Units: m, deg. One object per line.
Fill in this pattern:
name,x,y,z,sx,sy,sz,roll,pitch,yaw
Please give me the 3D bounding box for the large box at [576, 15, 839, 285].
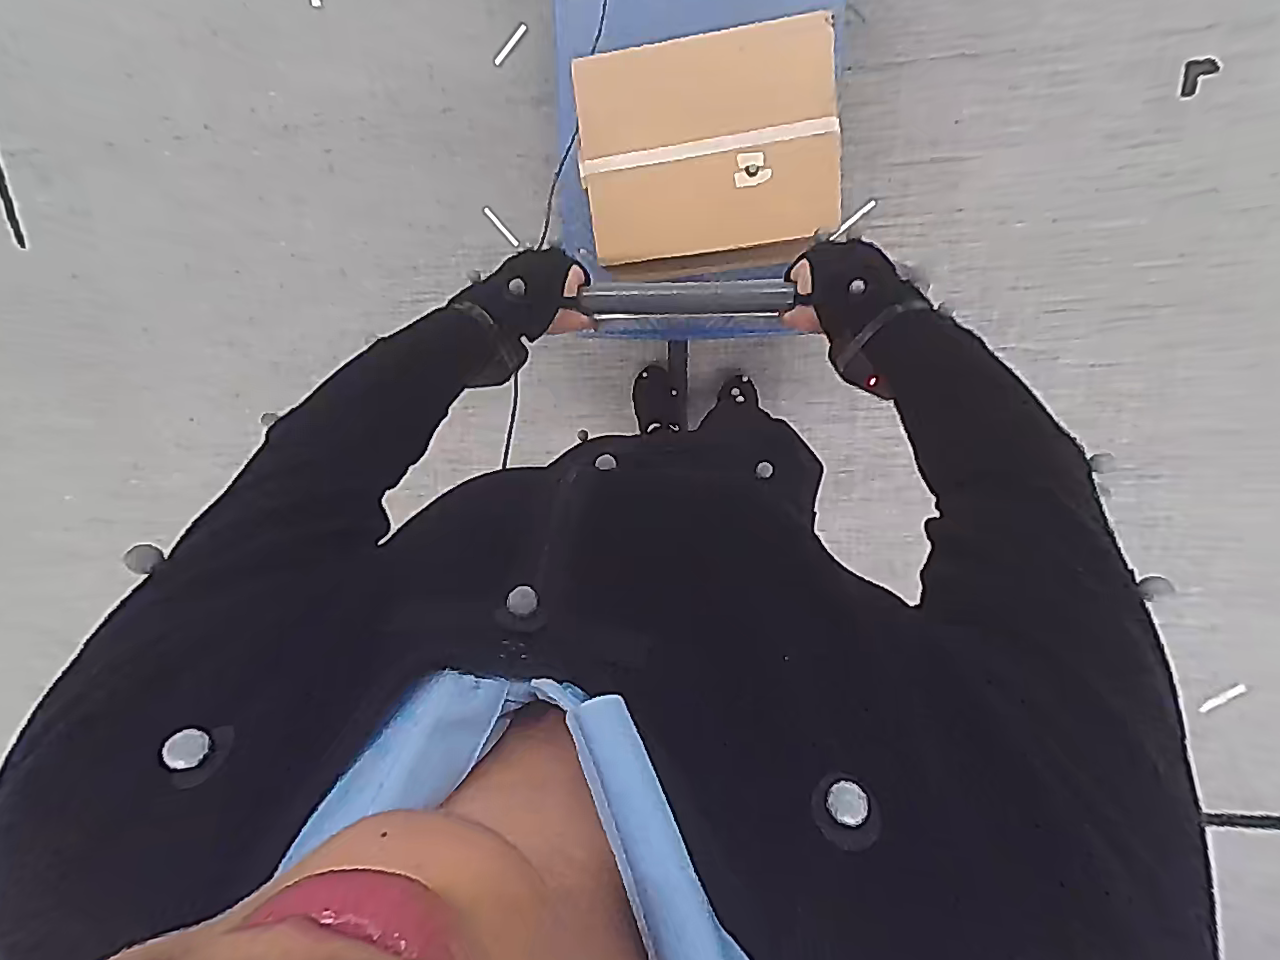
large box,0.123,-0.574,1.023,0.408,0.320,0.320,-6,104,6
